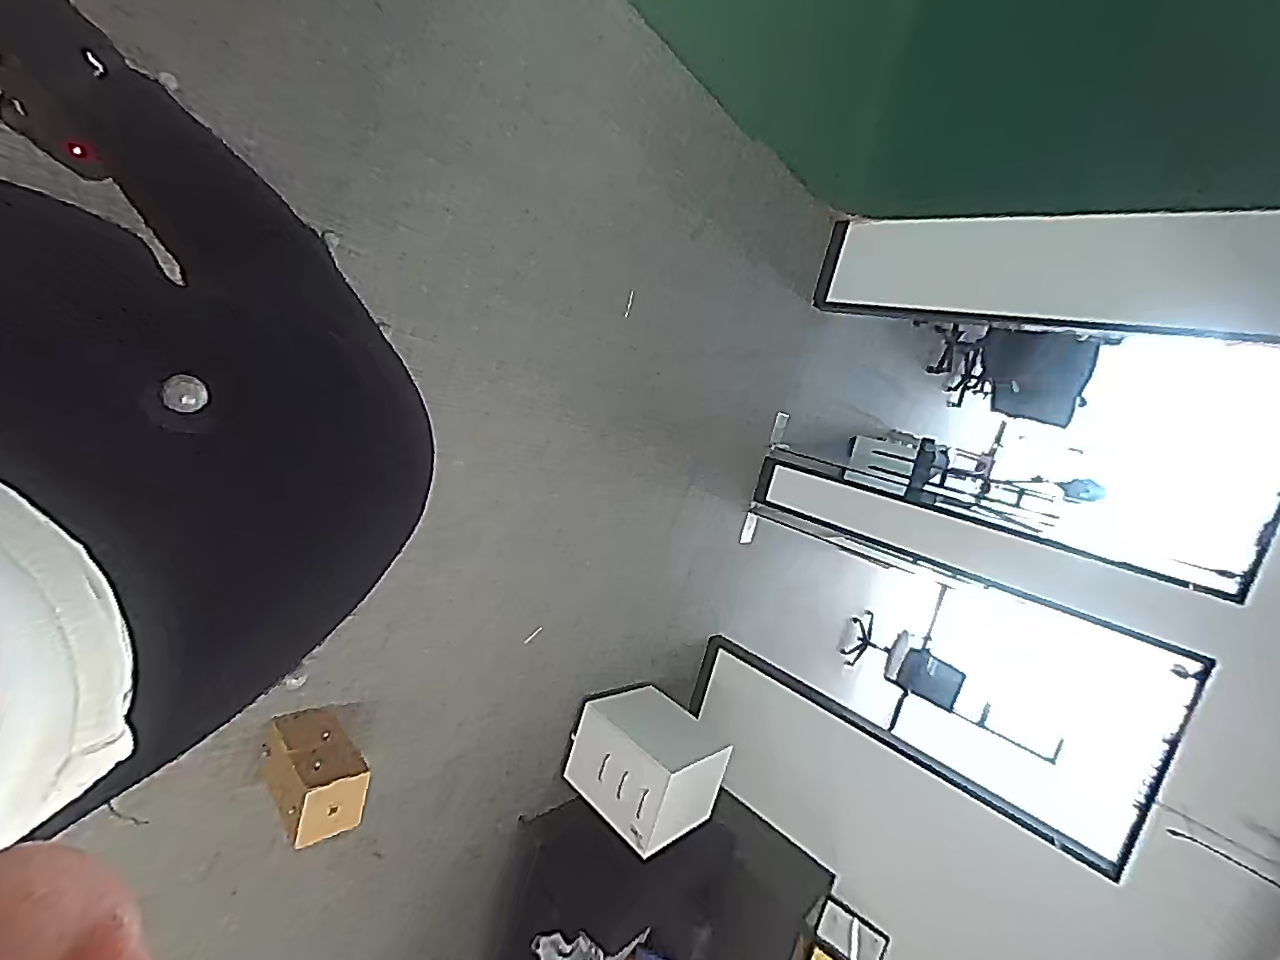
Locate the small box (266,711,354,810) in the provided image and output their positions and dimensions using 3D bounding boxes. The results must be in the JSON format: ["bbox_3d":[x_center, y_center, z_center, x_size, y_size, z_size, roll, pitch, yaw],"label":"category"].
[{"bbox_3d":[-0.981,0.819,1.598,0.168,0.176,0.179,9,99,-51],"label":"small box"}]

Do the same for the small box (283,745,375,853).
[{"bbox_3d":[-0.864,0.866,1.496,0.168,0.176,0.179,6,103,-49],"label":"small box"}]
